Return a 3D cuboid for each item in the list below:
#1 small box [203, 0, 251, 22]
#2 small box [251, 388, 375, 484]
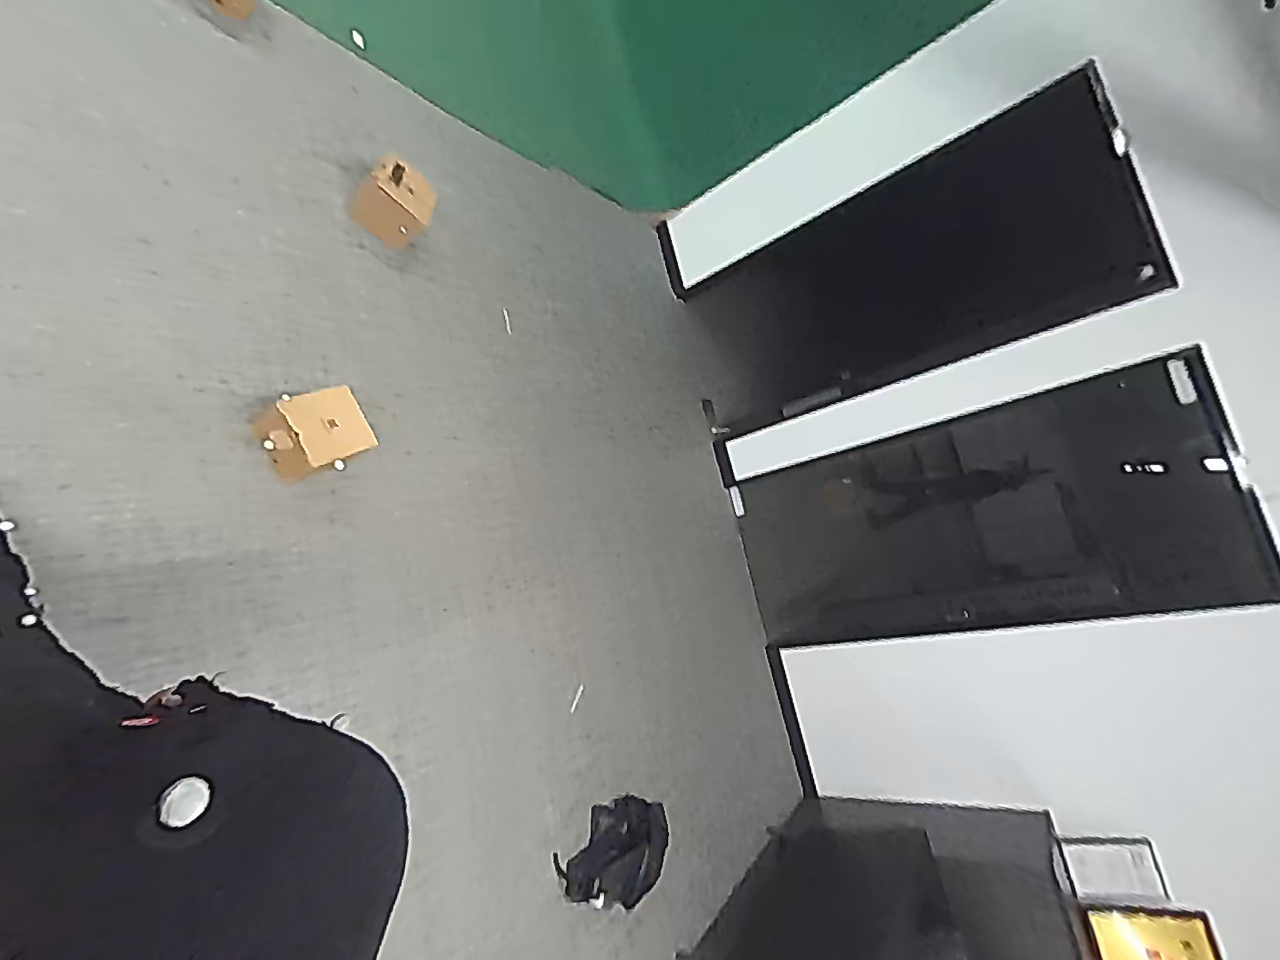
[{"bbox_3d":[-1.135,-1.397,1.445,0.168,0.176,0.179,11,66,-54],"label":"small box"},{"bbox_3d":[-0.801,-0.108,1.326,0.179,0.176,0.168,-37,106,-53],"label":"small box"}]
